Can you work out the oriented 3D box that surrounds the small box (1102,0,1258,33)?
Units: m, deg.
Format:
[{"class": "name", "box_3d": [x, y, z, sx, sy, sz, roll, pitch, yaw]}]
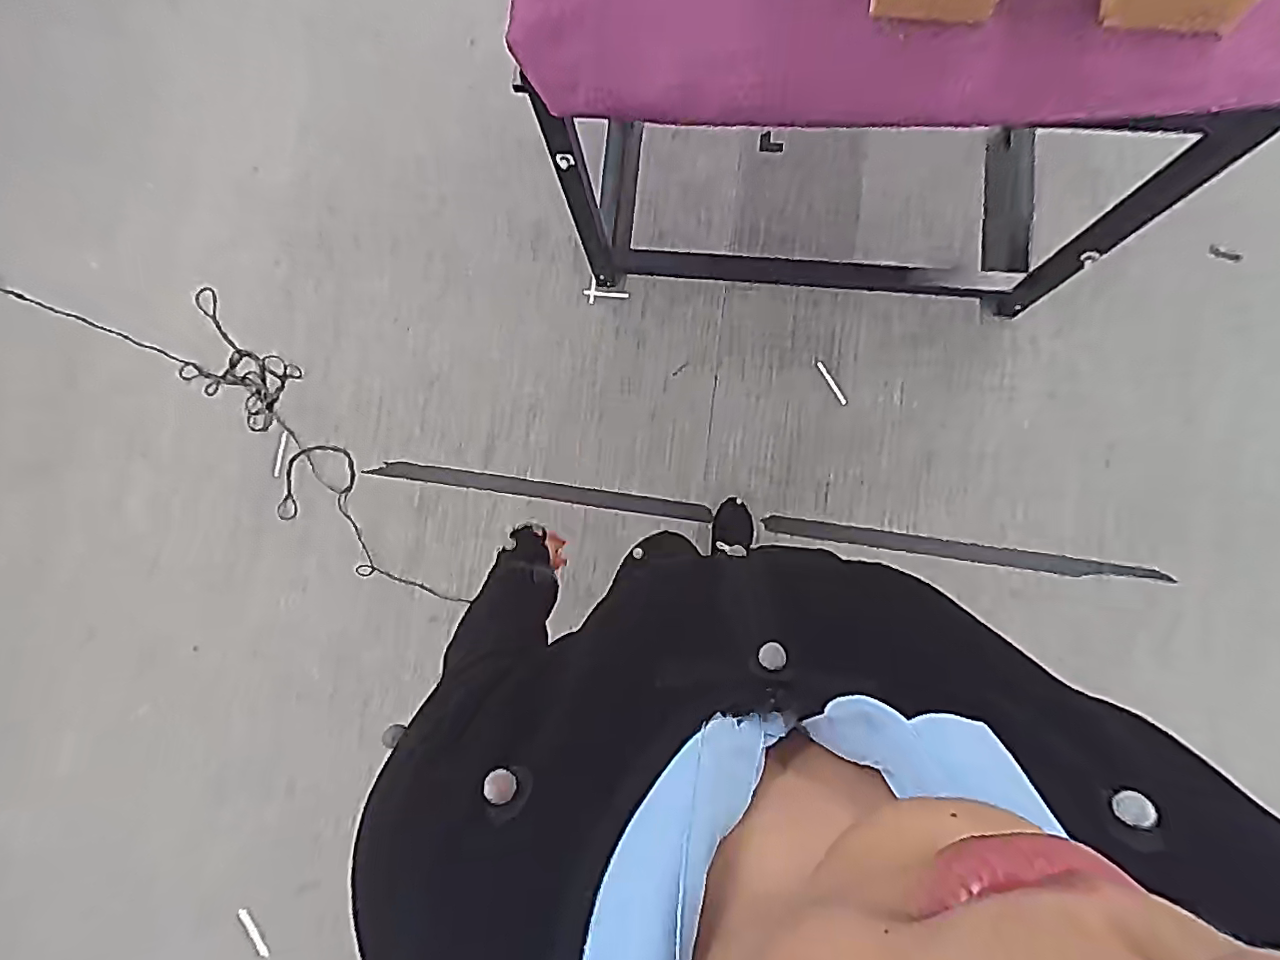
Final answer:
[{"class": "small box", "box_3d": [0.784, -0.753, 0.729, 0.179, 0.176, 0.168, 9, 83, 7]}]

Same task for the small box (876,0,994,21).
[{"class": "small box", "box_3d": [0.453, -0.798, 0.761, 0.179, 0.176, 0.168, 9, 85, 5]}]
